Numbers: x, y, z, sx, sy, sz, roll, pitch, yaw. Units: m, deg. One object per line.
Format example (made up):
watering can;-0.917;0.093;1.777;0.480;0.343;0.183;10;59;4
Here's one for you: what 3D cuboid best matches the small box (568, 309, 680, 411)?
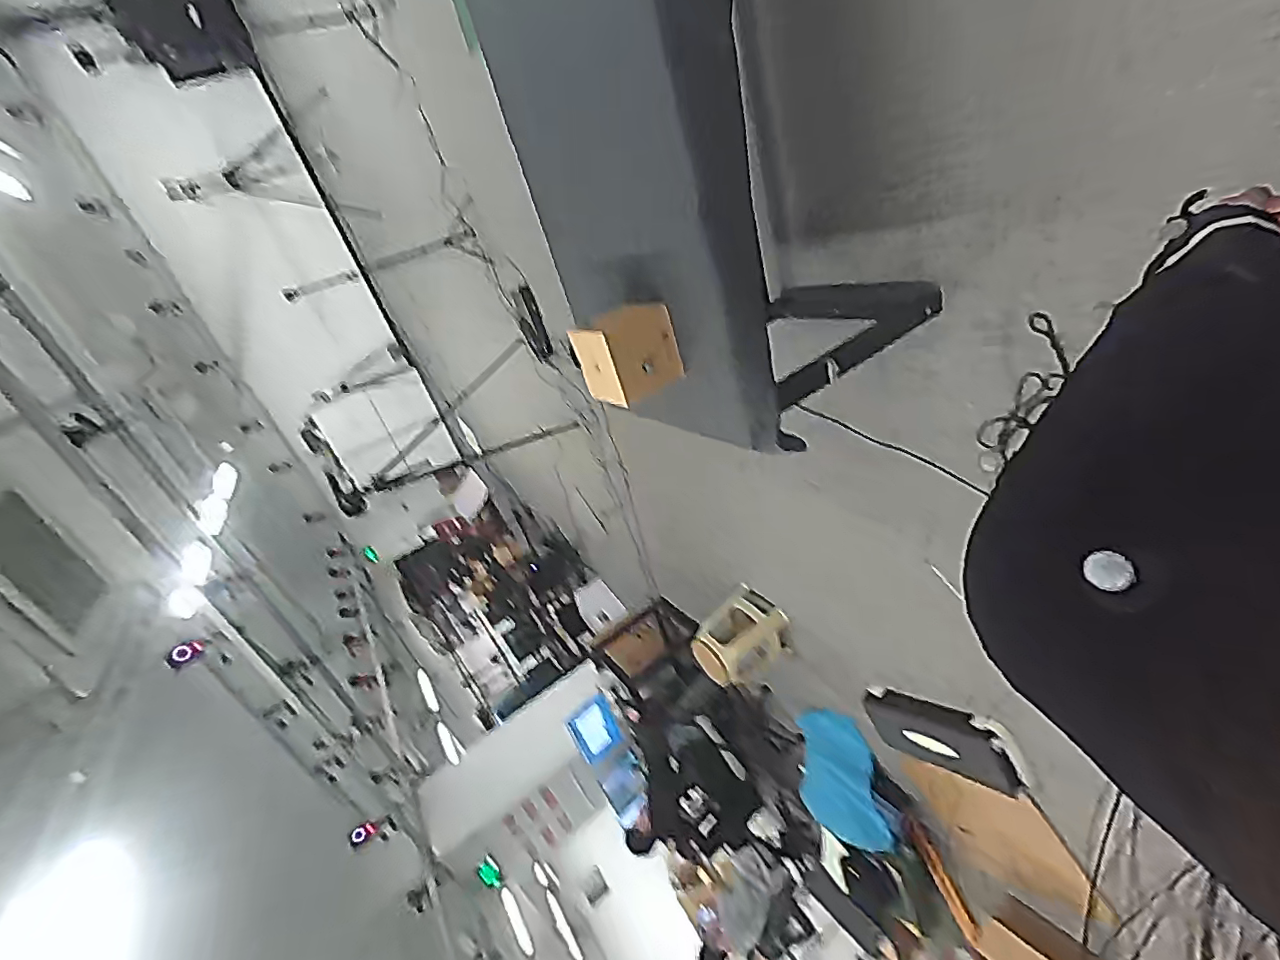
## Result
small box;-0.028;-0.272;1.203;0.179;0.176;0.168;25;140;55
